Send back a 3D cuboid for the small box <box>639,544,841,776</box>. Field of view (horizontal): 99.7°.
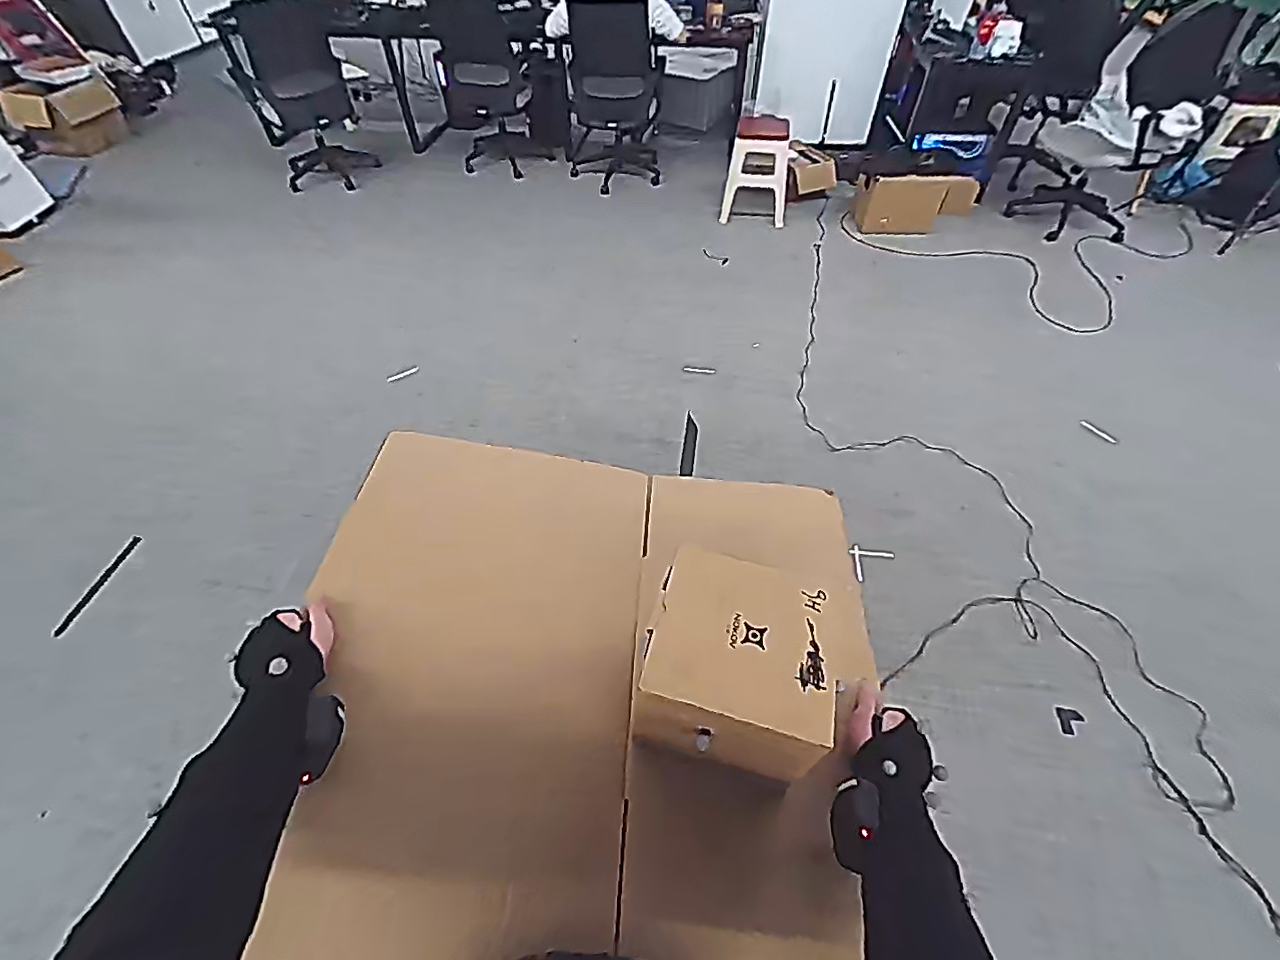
[{"bbox_3d":[0.104,0.198,0.589,0.179,0.176,0.168,13,51,10],"label":"small box"}]
